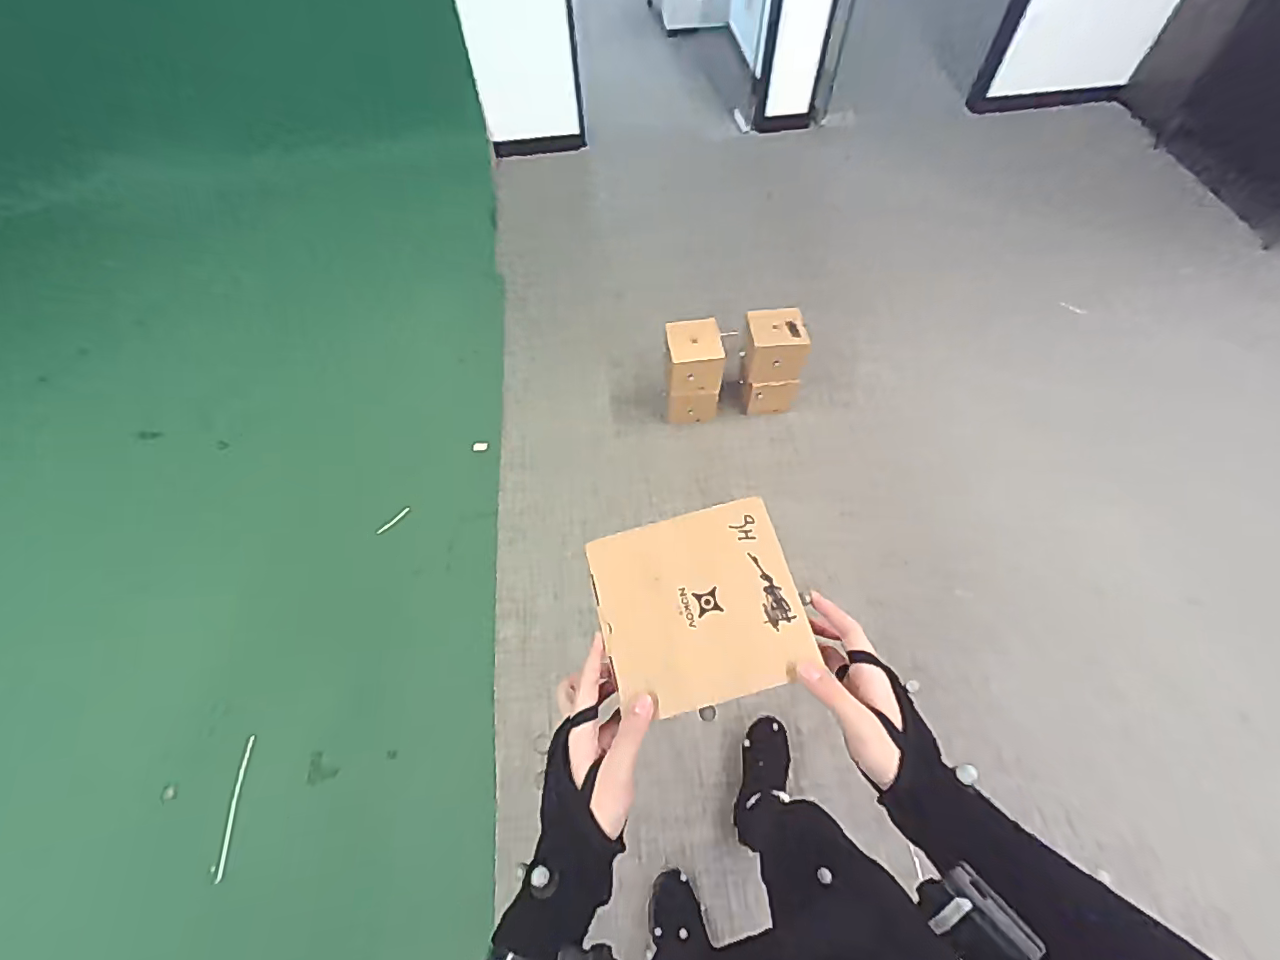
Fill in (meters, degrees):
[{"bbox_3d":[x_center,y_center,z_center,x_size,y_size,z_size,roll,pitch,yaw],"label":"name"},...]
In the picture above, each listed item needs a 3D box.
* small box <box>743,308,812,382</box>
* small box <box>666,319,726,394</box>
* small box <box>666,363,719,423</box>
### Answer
[{"bbox_3d":[0.446,-0.443,1.786,0.179,0.176,0.168,-5,58,0],"label":"small box"},{"bbox_3d":[0.179,-0.398,1.772,0.168,0.176,0.179,-7,59,-2],"label":"small box"},{"bbox_3d":[0.183,-0.316,1.911,0.168,0.176,0.179,-5,60,-1],"label":"small box"}]
